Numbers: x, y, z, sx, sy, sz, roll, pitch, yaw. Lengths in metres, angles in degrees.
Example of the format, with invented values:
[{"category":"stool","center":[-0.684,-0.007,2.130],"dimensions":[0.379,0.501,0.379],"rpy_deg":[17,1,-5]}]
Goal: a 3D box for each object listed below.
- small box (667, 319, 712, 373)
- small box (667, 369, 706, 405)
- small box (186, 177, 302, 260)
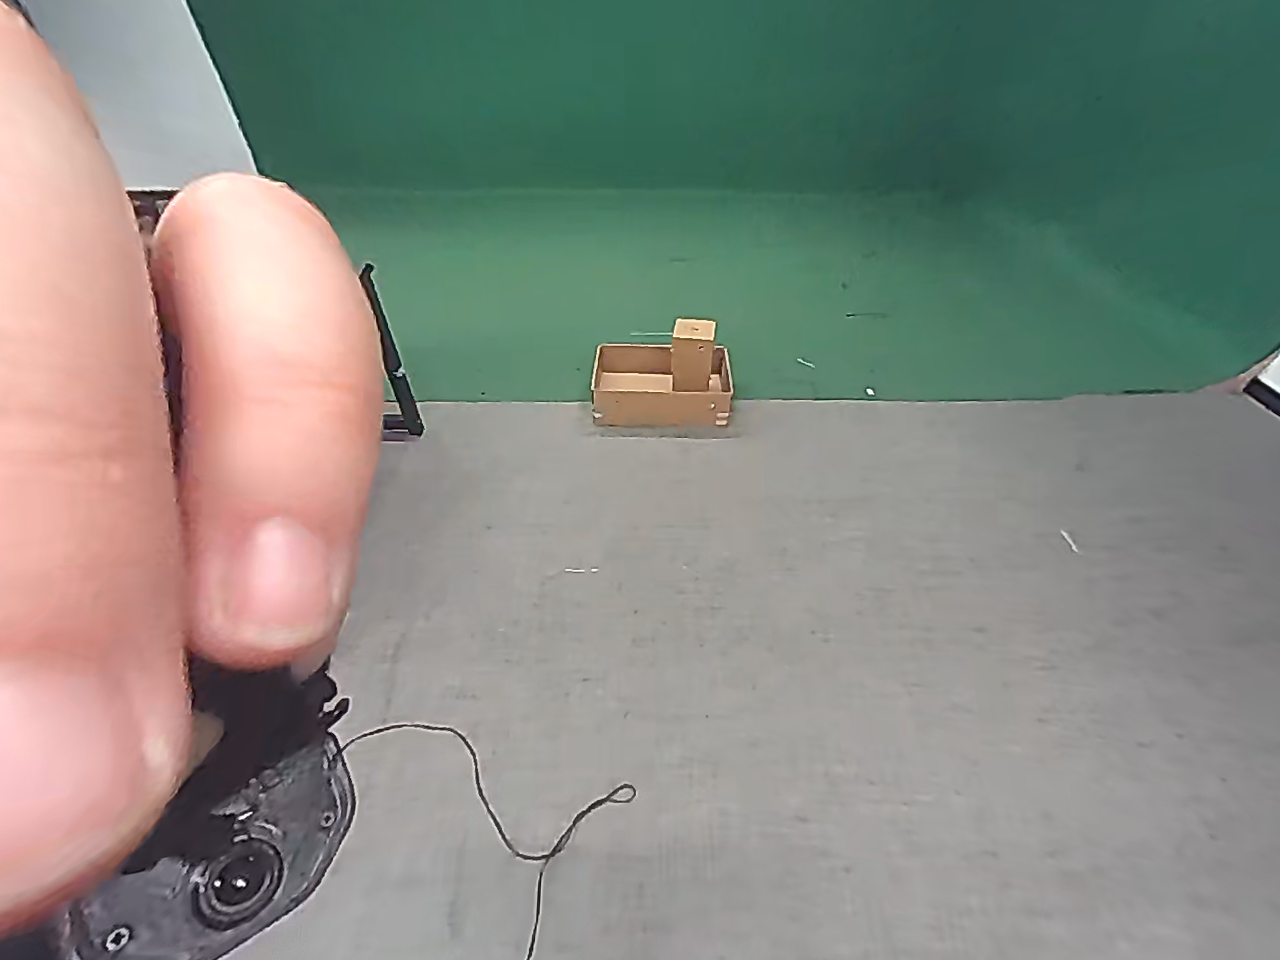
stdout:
[{"category":"small box","center":[0.217,-0.584,2.371],"dimensions":[0.179,0.176,0.168],"rpy_deg":[6,44,7]},{"category":"small box","center":[0.216,-0.469,2.489],"dimensions":[0.168,0.176,0.179],"rpy_deg":[6,46,6]},{"category":"small box","center":[-1.094,-0.732,1.517],"dimensions":[0.168,0.176,0.179],"rpy_deg":[5,44,4]}]
